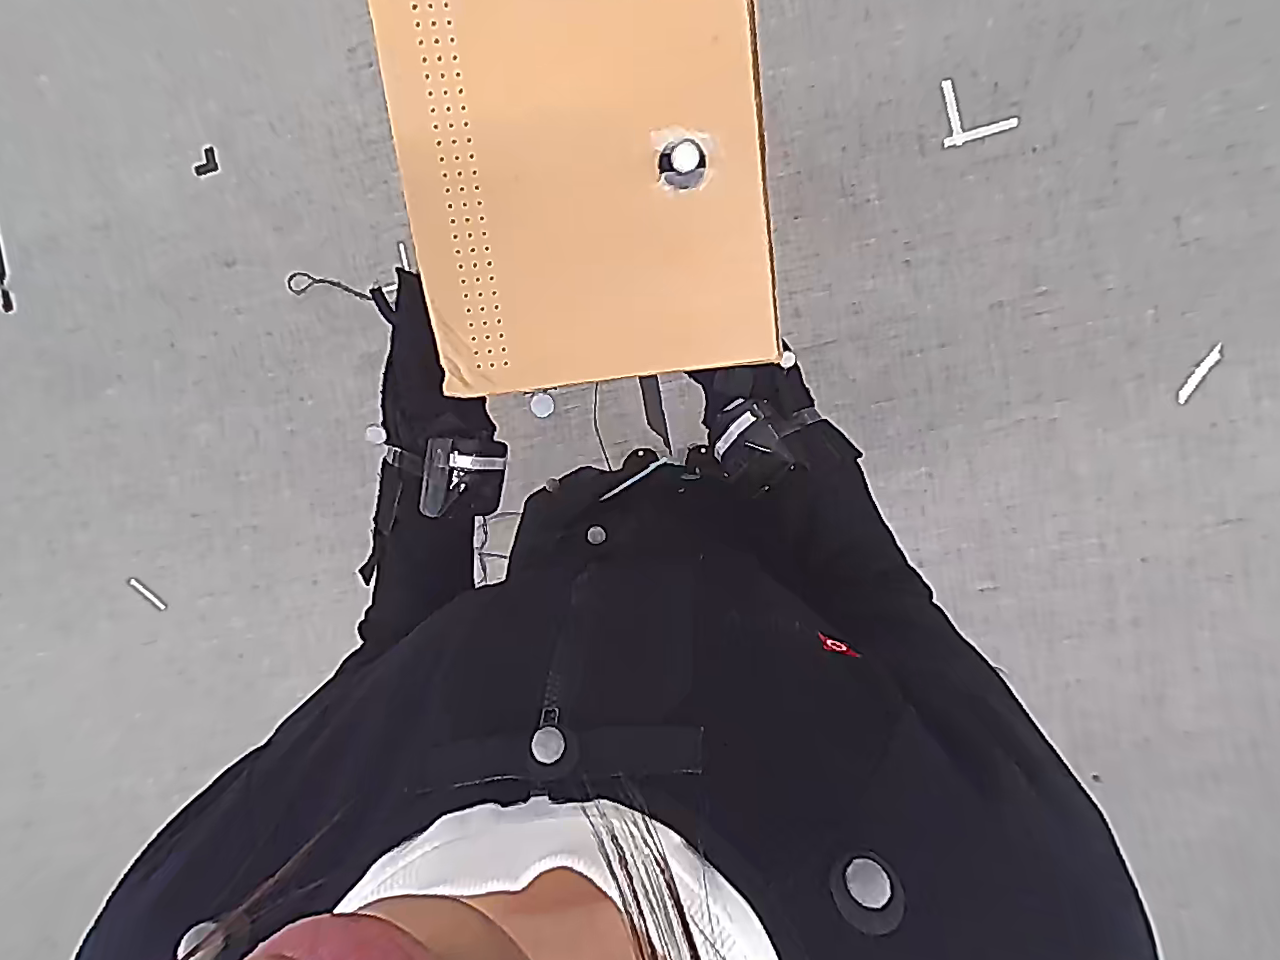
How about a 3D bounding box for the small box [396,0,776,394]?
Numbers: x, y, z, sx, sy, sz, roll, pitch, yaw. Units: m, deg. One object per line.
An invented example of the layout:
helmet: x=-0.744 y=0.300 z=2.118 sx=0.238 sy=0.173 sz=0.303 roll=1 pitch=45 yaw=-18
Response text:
small box: x=-0.031 y=-0.153 z=0.333 sx=0.176 sy=0.168 sz=0.179 roll=-8 pitch=101 yaw=-4
